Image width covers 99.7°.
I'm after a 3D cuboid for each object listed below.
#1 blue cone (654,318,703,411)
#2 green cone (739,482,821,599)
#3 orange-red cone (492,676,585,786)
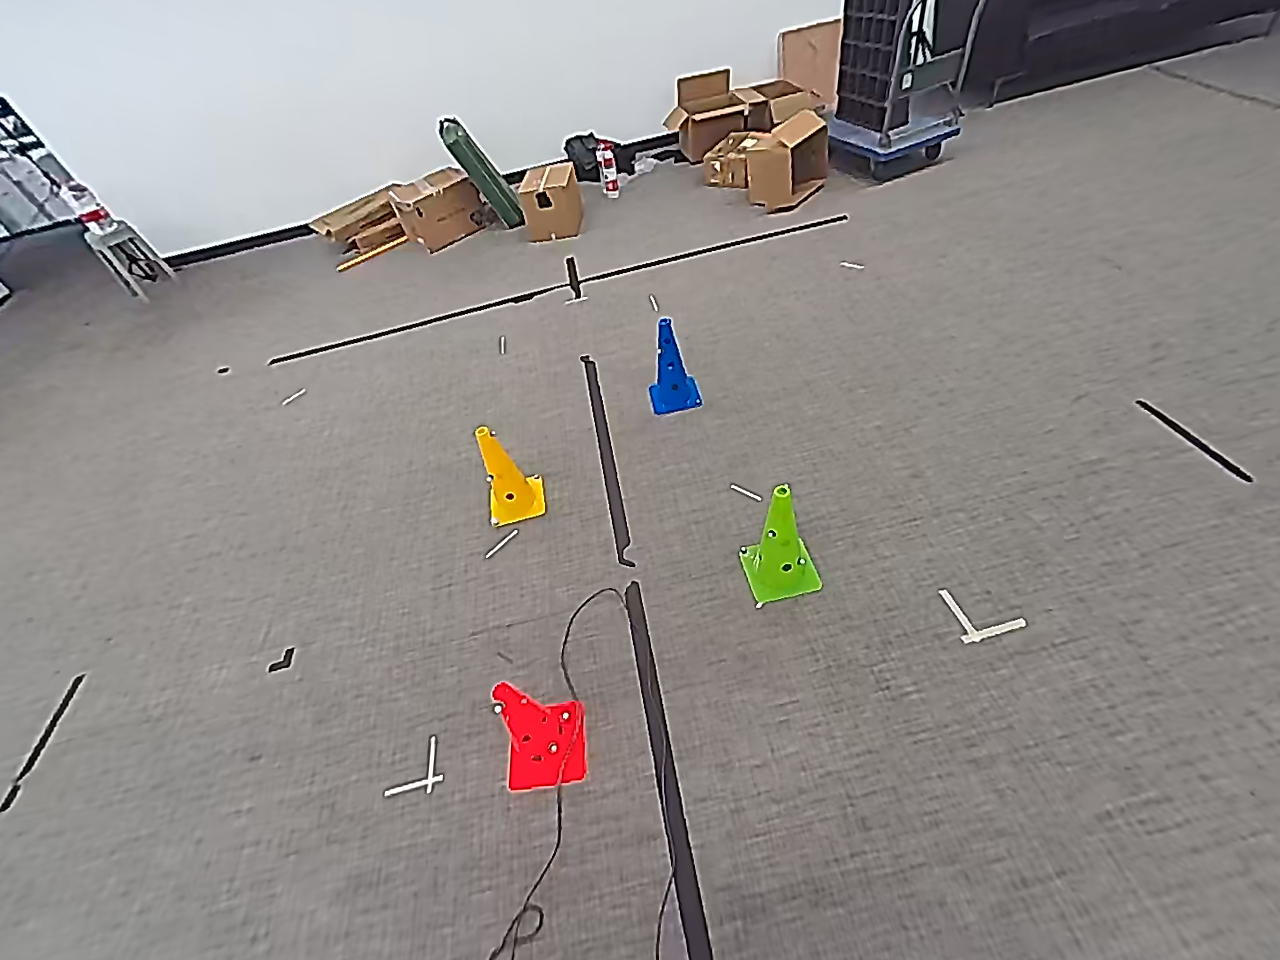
[{"bbox_3d":[0.134,-0.466,2.139,0.192,0.380,0.193,-10,47,2],"label":"blue cone"},{"bbox_3d":[0.393,0.144,1.502,0.202,0.368,0.200,-13,47,-1],"label":"green cone"},{"bbox_3d":[-0.270,0.556,1.273,0.199,0.360,0.198,-11,45,4],"label":"orange-red cone"}]
